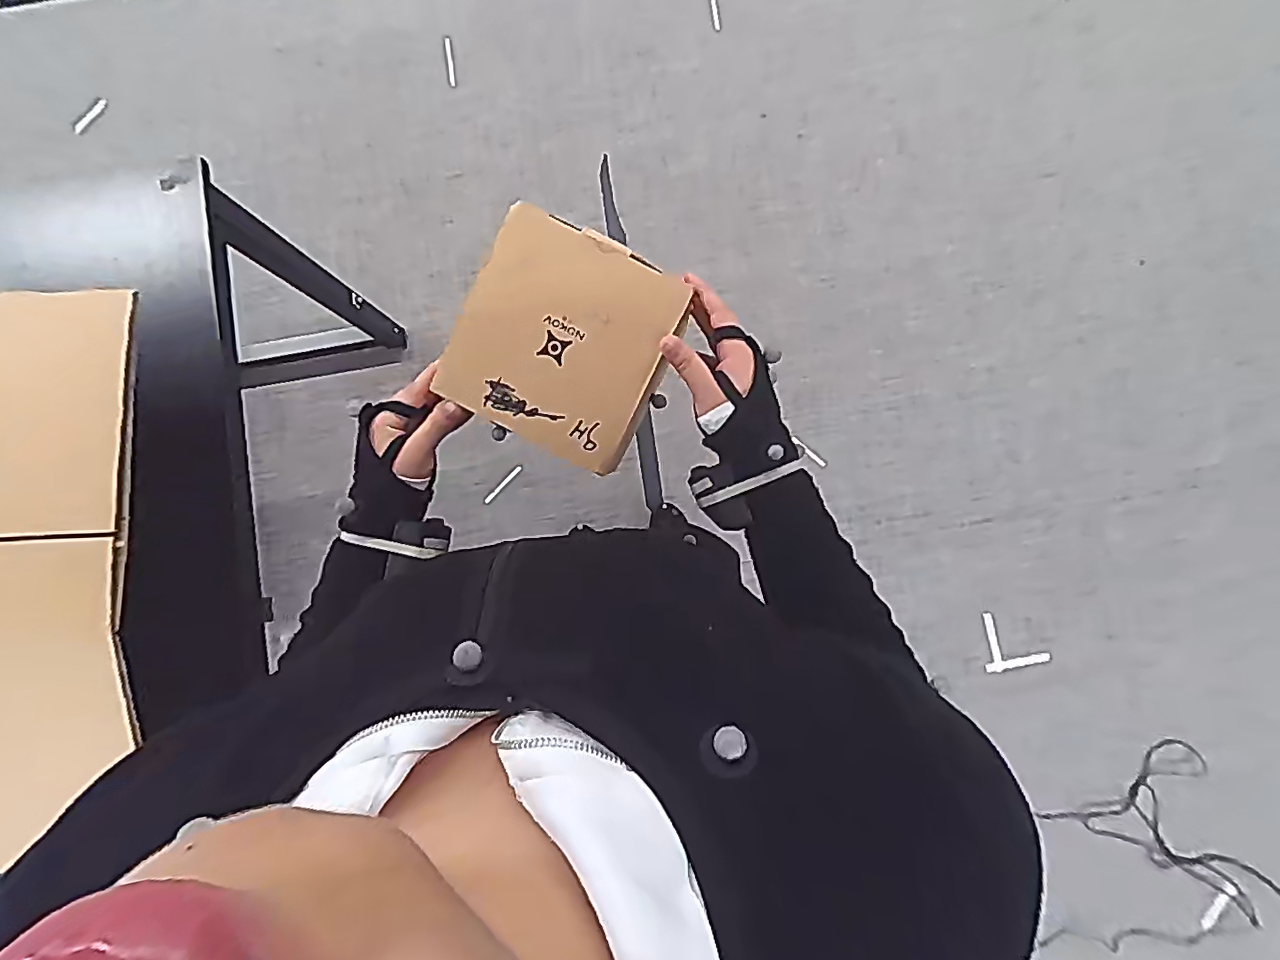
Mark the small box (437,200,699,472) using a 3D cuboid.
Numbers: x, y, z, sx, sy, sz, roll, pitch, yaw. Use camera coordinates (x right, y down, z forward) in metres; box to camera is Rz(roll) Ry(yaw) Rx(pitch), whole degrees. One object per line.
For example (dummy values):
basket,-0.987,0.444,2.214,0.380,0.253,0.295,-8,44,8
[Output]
small box,-0.060,-0.122,0.528,0.168,0.176,0.179,27,93,0
